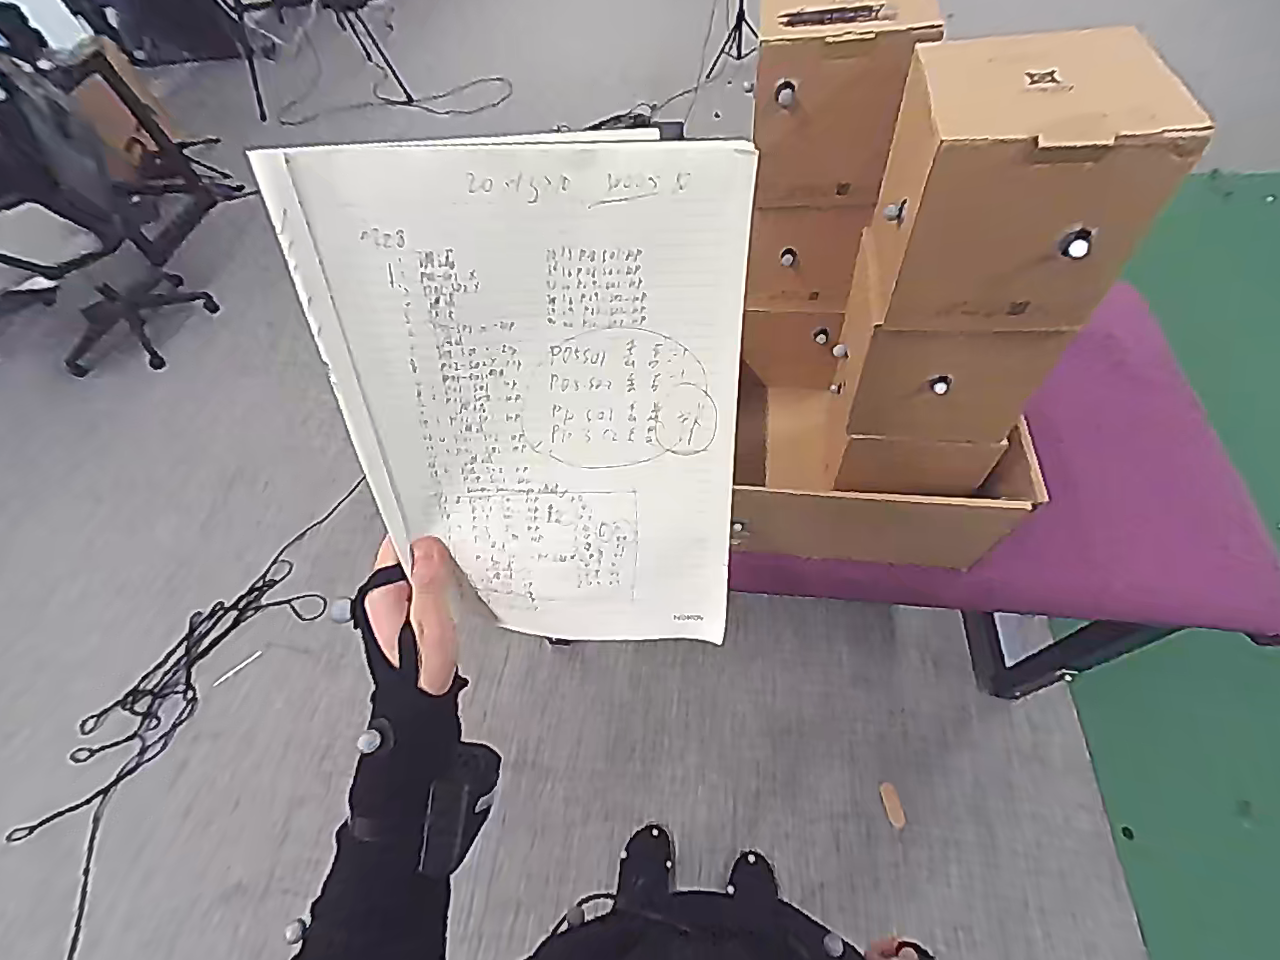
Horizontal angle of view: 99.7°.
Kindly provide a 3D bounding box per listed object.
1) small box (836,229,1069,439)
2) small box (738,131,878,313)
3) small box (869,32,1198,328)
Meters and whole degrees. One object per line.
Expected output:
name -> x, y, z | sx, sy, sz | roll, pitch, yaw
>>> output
small box -> 0.326, -0.160, 0.608 | 0.179, 0.176, 0.168 | 4, 56, 13
small box -> 0.227, -0.354, 0.758 | 0.168, 0.176, 0.179 | 5, 59, 11
small box -> 0.307, -0.252, 0.474 | 0.168, 0.176, 0.179 | 4, 56, 12
